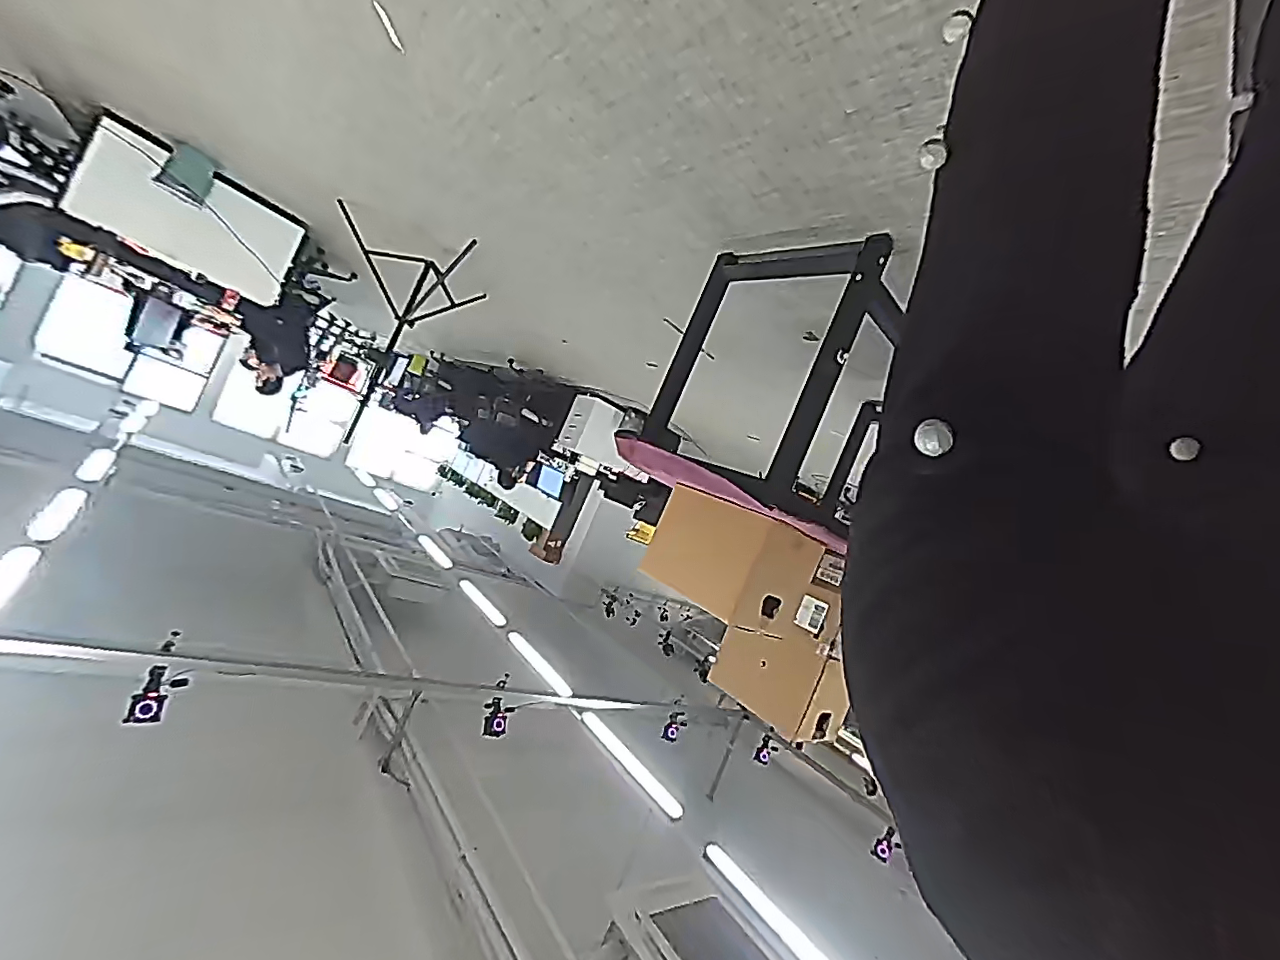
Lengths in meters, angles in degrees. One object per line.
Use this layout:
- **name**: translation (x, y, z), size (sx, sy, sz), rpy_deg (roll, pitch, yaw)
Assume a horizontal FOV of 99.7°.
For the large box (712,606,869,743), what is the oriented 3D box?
- **large box**: translation (0.546, 0.701, 1.983), size (0.320, 0.320, 0.408), rpy_deg (23, 178, -40)
